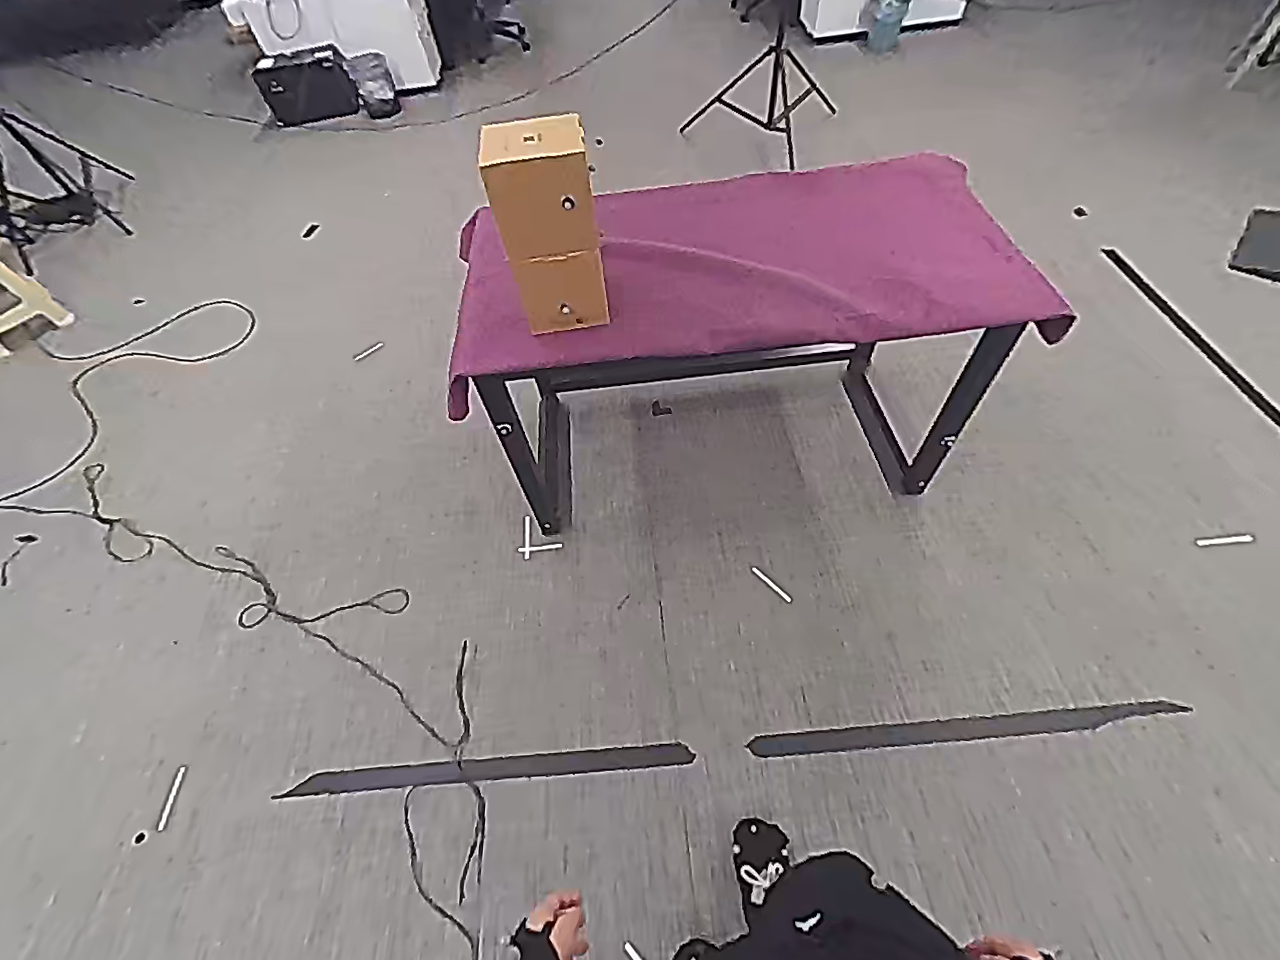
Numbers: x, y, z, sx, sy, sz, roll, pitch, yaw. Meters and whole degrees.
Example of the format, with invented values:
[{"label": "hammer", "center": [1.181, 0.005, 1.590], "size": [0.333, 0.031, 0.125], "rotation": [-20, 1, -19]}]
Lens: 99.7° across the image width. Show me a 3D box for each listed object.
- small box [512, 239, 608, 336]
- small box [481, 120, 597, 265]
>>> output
[{"label": "small box", "center": [-0.161, -0.423, 1.114], "size": [0.168, 0.176, 0.179], "rotation": [-9, 54, 0]}, {"label": "small box", "center": [-0.175, -0.518, 0.983], "size": [0.179, 0.176, 0.168], "rotation": [-10, 53, -1]}]
